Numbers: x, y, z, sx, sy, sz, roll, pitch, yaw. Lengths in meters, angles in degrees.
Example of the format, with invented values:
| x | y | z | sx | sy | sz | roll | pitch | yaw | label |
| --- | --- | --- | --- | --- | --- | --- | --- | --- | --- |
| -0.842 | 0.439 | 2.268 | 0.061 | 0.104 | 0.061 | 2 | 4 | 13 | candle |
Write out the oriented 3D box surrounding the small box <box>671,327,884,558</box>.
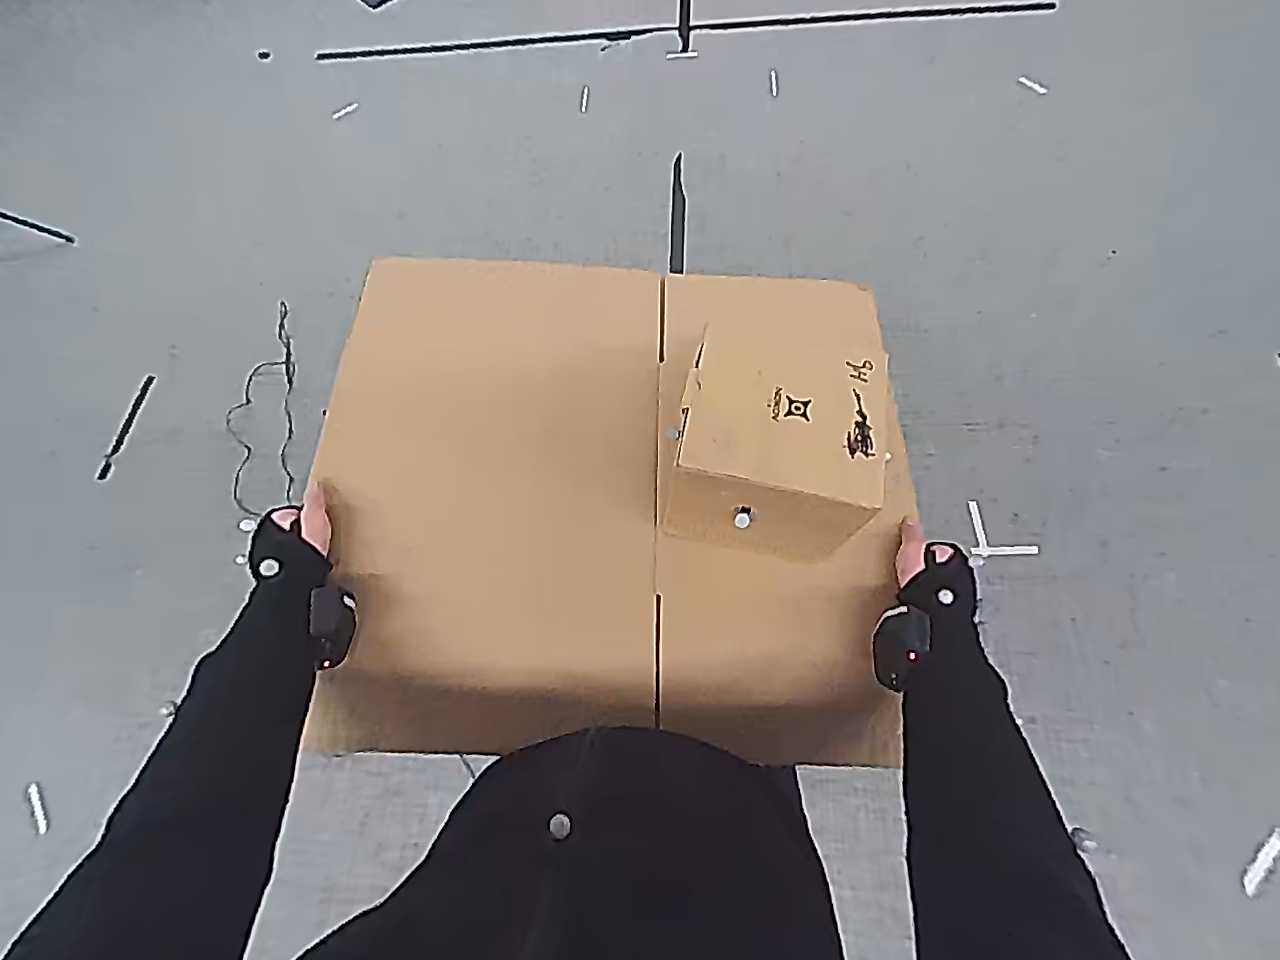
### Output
| x | y | z | sx | sy | sz | roll | pitch | yaw | label |
| --- | --- | --- | --- | --- | --- | --- | --- | --- | --- |
| 0.132 | -0.030 | 0.564 | 0.179 | 0.176 | 0.168 | 11 | 66 | 5 | small box |
